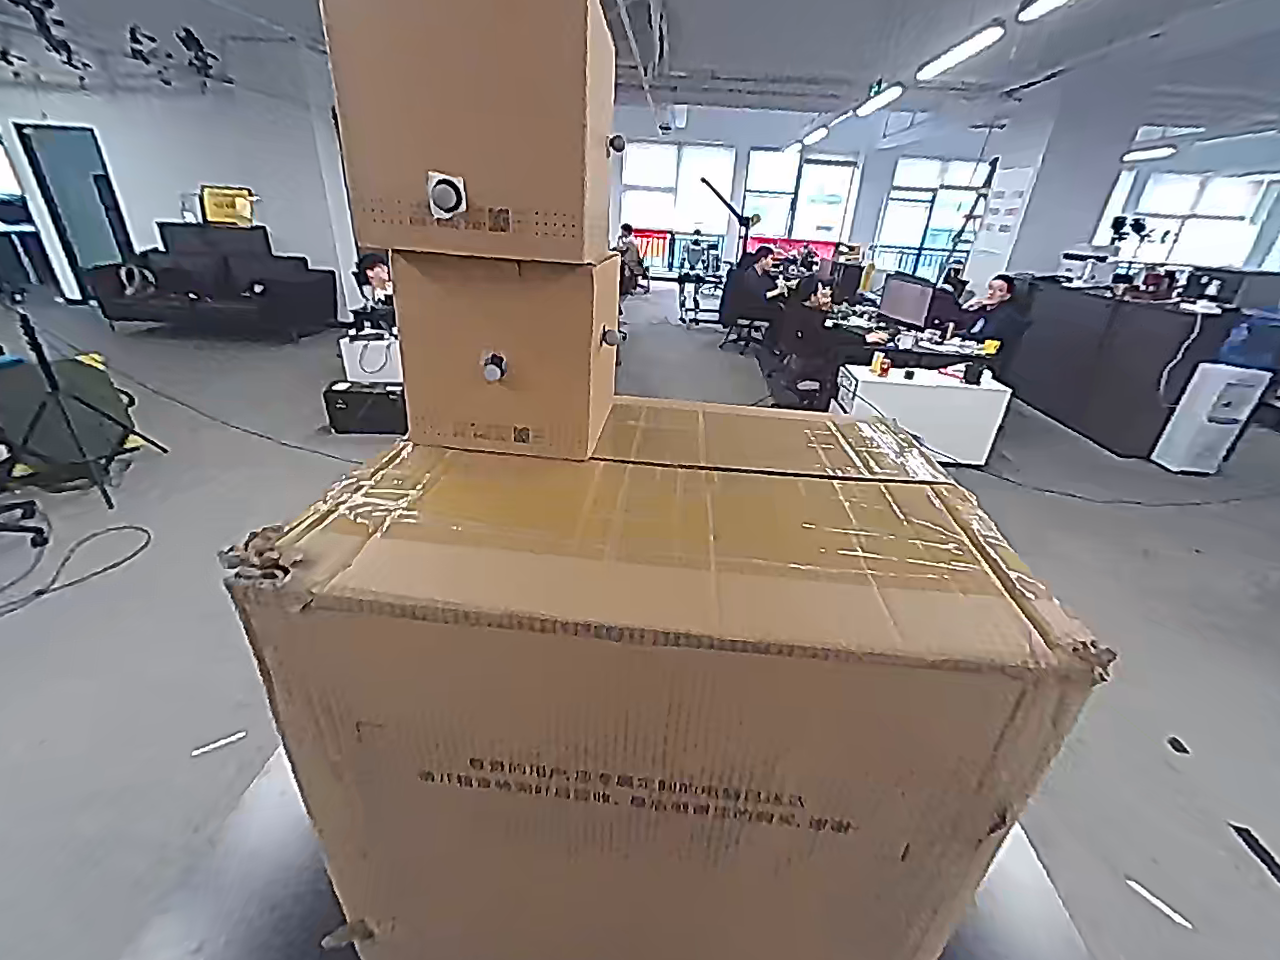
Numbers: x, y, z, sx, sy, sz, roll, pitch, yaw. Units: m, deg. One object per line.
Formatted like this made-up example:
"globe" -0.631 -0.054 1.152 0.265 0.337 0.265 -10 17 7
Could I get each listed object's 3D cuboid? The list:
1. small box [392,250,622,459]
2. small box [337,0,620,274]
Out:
"small box" -0.110 -0.131 0.525 0.168 0.176 0.179 6 26 2
"small box" -0.106 -0.263 0.423 0.168 0.176 0.179 3 26 0
